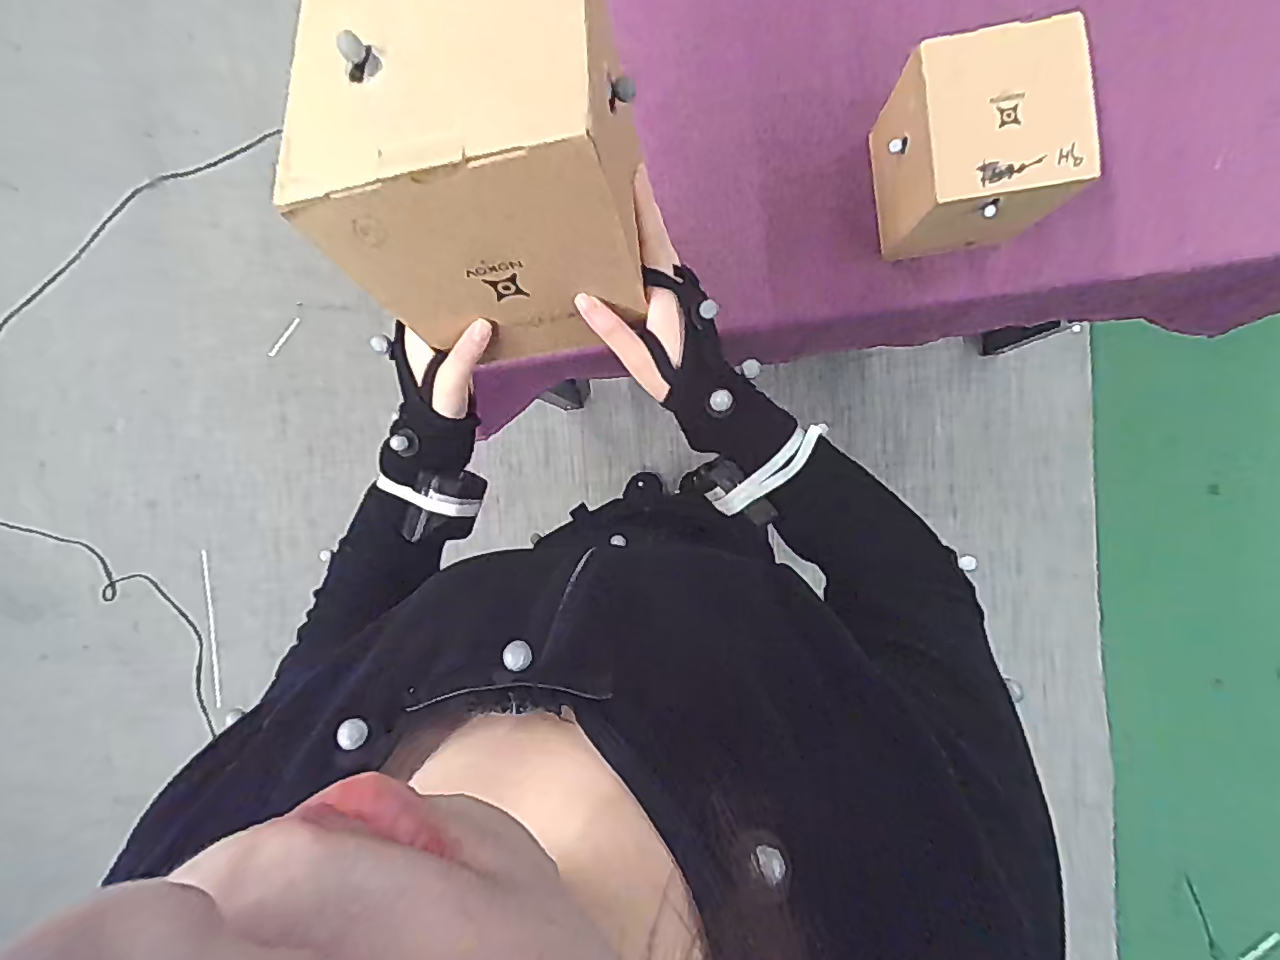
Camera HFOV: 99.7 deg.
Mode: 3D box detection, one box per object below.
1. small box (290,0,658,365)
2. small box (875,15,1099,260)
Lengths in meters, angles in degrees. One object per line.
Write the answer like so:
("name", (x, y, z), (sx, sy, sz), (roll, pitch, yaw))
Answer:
("small box", (-0.086, -0.199, 0.356), (0.168, 0.179, 0.176), (-6, 75, 10))
("small box", (0.395, -0.390, 0.648), (0.168, 0.176, 0.179), (-6, 91, 7))
